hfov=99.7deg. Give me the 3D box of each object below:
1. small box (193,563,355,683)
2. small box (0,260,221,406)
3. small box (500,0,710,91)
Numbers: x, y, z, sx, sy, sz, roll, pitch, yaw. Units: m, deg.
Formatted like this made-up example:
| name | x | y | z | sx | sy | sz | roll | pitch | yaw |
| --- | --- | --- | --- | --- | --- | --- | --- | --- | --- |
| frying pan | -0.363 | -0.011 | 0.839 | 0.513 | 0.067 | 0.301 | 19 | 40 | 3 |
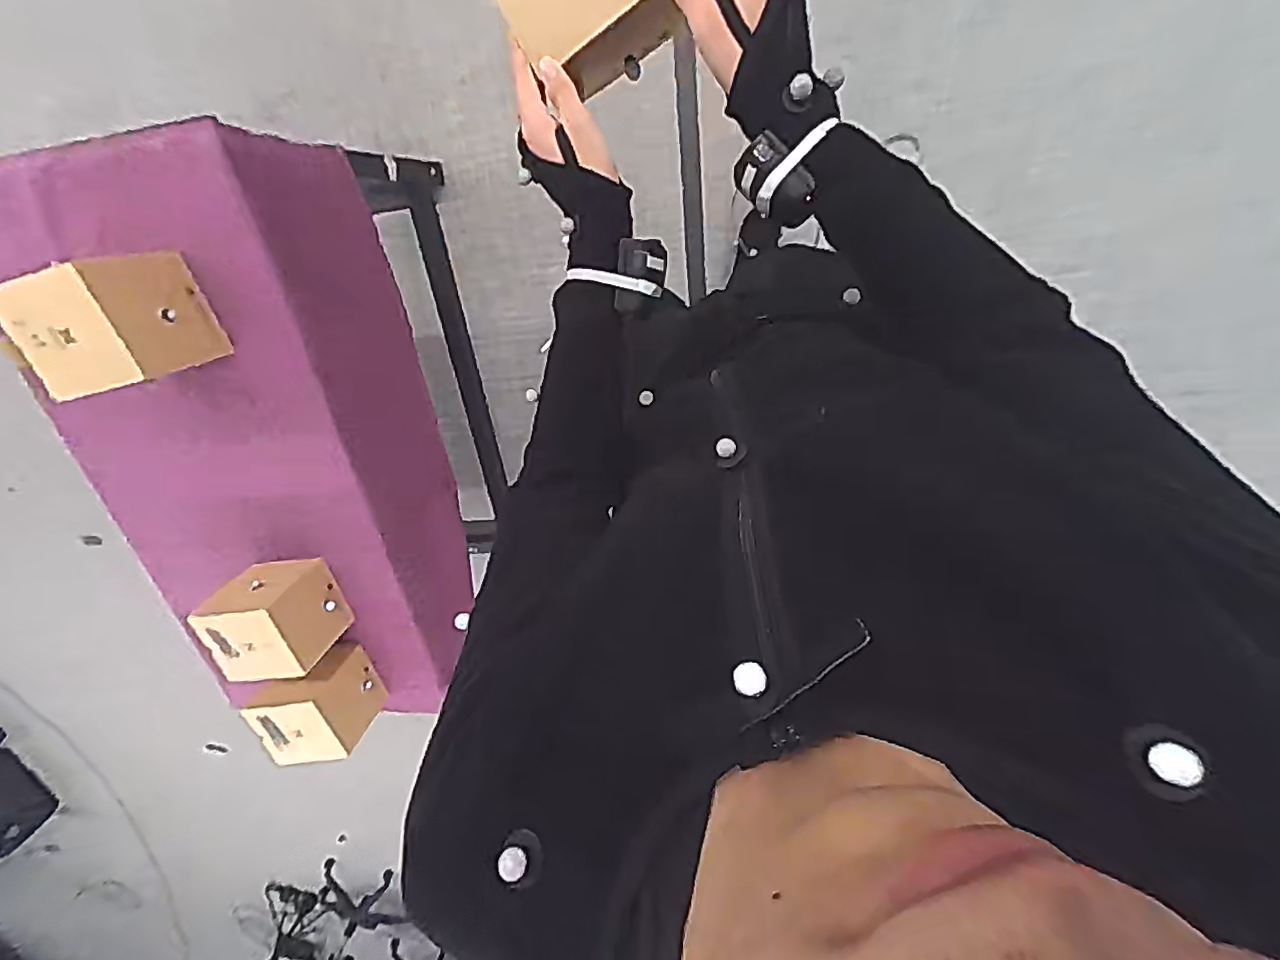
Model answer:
| name | x | y | z | sx | sy | sz | roll | pitch | yaw |
| --- | --- | --- | --- | --- | --- | --- | --- | --- | --- |
| small box | -0.726 | 0.284 | 1.092 | 0.179 | 0.176 | 0.168 | -7 | 116 | 11 |
| small box | -0.803 | -0.232 | 0.836 | 0.179 | 0.176 | 0.168 | -9 | 115 | 14 |
| small box | -0.044 | -0.456 | 0.432 | 0.168 | 0.176 | 0.179 | -25 | 113 | 20 |
